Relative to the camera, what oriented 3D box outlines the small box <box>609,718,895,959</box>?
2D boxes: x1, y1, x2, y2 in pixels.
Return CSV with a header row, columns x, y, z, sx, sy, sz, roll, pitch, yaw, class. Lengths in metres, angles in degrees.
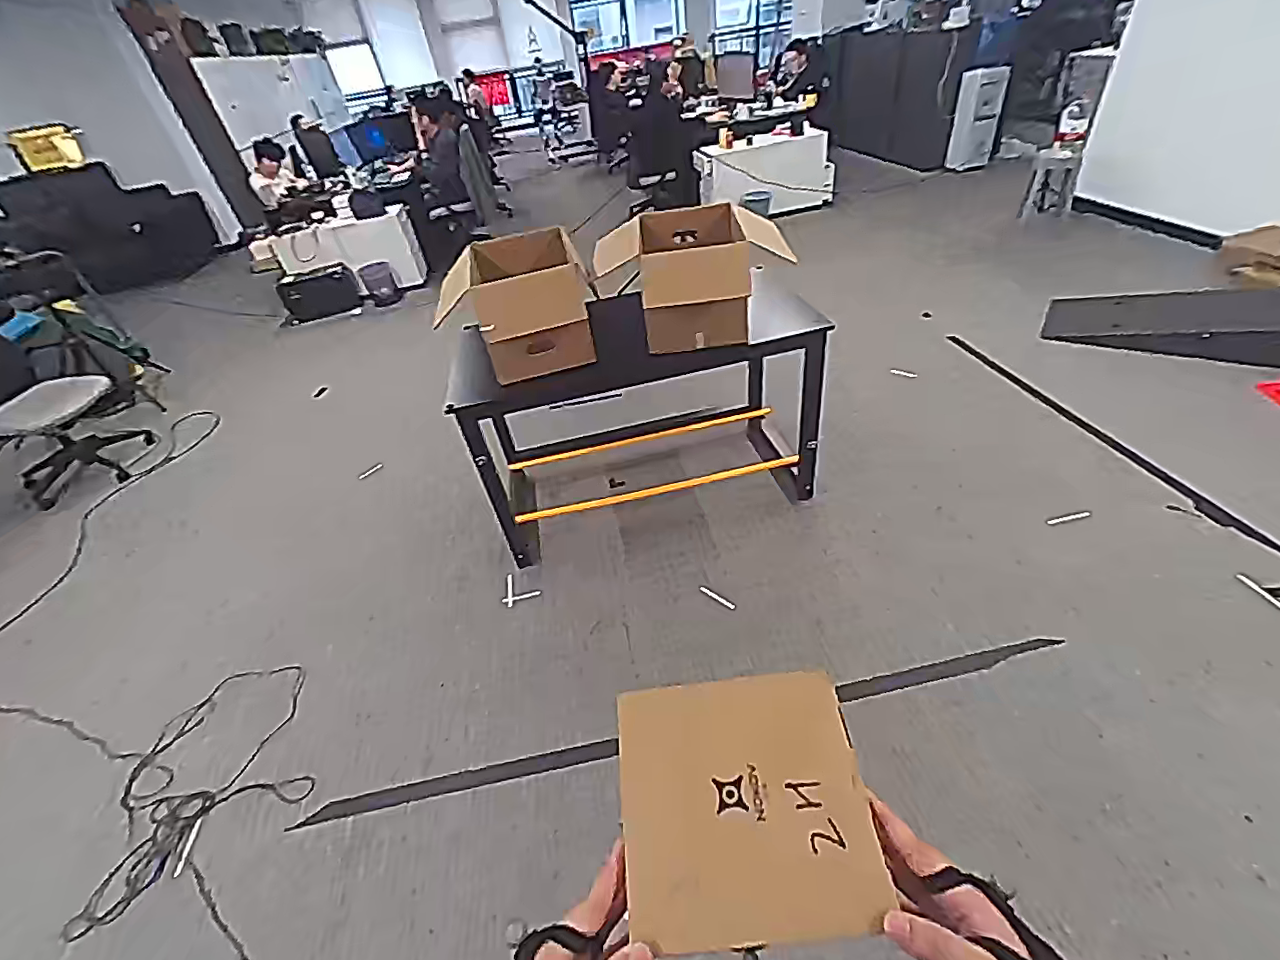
x,y,z,sx,sy,sz,roll,pitch,yaw,class
0.077,0.309,0.436,0.179,0.176,0.168,-8,51,2,small box
